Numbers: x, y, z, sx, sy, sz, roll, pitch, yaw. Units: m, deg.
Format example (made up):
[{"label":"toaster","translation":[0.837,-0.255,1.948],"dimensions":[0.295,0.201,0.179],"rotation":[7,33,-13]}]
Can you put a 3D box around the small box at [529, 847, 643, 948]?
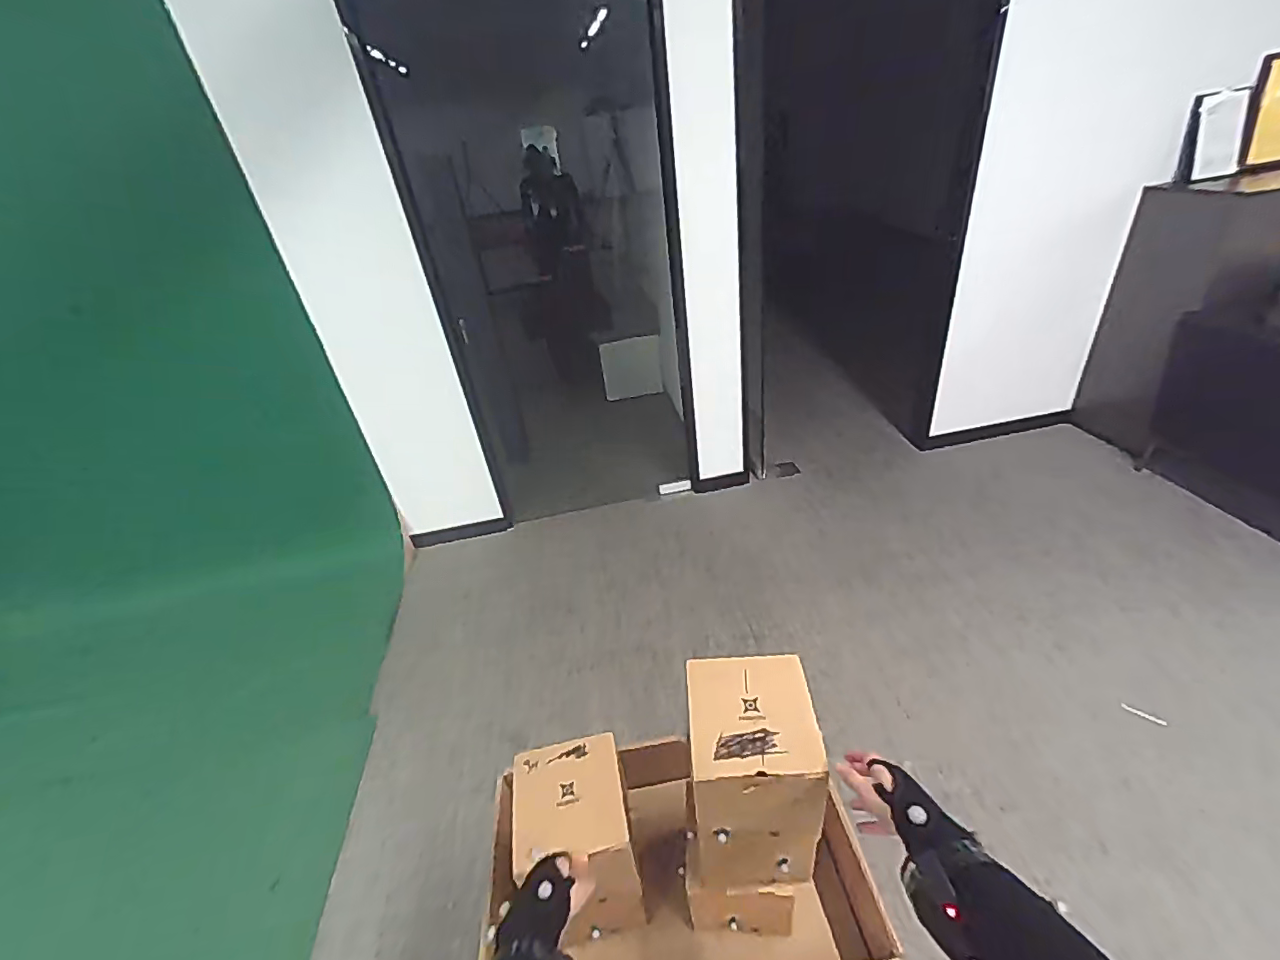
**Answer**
[{"label":"small box","translation":[-0.094,0.664,0.944],"dimensions":[0.168,0.176,0.179],"rotation":[-11,33,-5]}]

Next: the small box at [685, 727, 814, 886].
[{"label":"small box","translation":[0.163,0.503,0.842],"dimensions":[0.168,0.176,0.179],"rotation":[-6,33,2]}]

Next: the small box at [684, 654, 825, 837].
[{"label":"small box","translation":[0.150,0.368,0.750],"dimensions":[0.168,0.176,0.179],"rotation":[-4,32,5]}]

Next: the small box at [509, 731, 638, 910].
[{"label":"small box","translation":[-0.102,0.534,0.844],"dimensions":[0.168,0.176,0.179],"rotation":[-10,34,-5]}]
